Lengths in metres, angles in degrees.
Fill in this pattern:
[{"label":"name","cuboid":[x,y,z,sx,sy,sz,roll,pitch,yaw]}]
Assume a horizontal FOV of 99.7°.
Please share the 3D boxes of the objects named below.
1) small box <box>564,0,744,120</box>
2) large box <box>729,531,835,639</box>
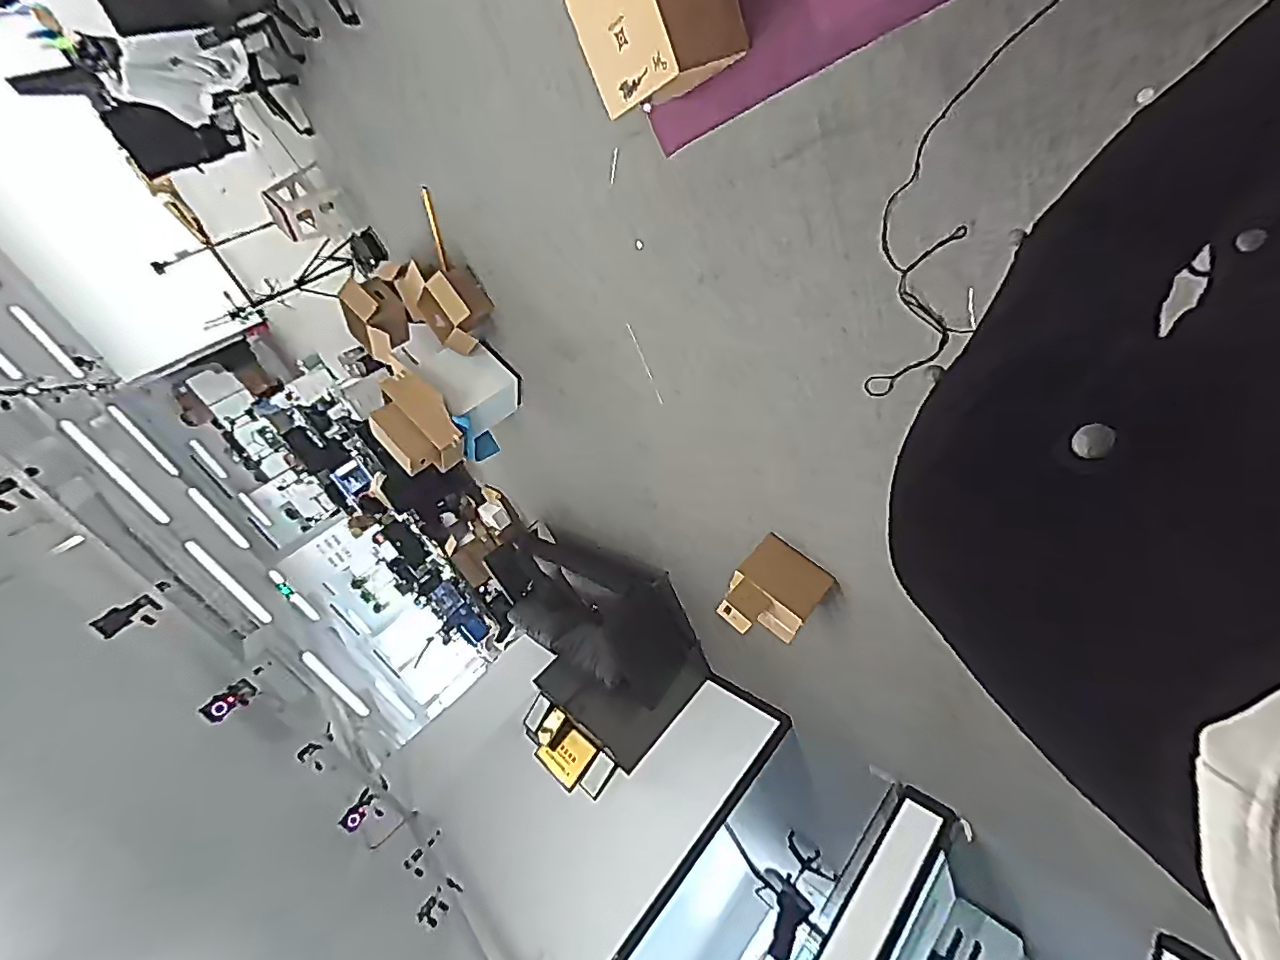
[{"label":"small box","cuboid":[0.024,-0.675,0.798,0.168,0.176,0.179,11,134,51]},{"label":"large box","cuboid":[0.734,0.546,2.838,0.408,0.320,0.320,35,152,23]}]
